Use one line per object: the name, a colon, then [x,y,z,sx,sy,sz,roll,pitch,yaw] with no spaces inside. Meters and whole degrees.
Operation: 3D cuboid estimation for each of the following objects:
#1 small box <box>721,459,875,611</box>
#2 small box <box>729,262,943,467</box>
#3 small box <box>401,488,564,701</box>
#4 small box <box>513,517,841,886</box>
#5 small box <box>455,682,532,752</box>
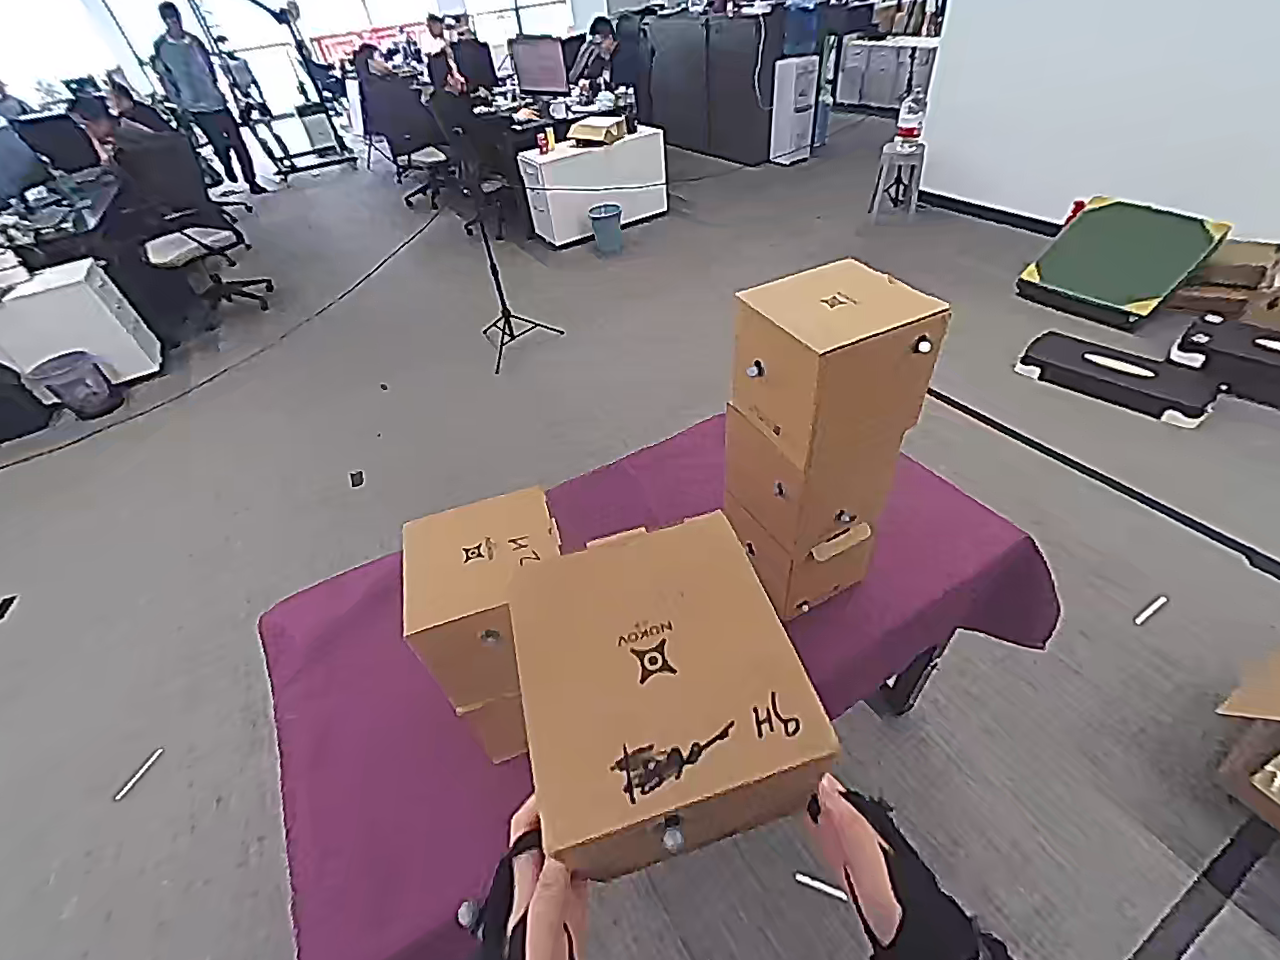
small box: [0.251,0.092,0.895,0.168,0.176,0.179,-23,45,-16]
small box: [0.226,-0.143,0.670,0.179,0.176,0.168,-21,45,-14]
small box: [-0.175,0.143,0.667,0.179,0.176,0.168,-16,45,-10]
small box: [0.015,0.160,0.395,0.168,0.176,0.179,-15,48,-7]
small box: [-0.164,0.264,0.777,0.168,0.176,0.179,-17,44,-11]
